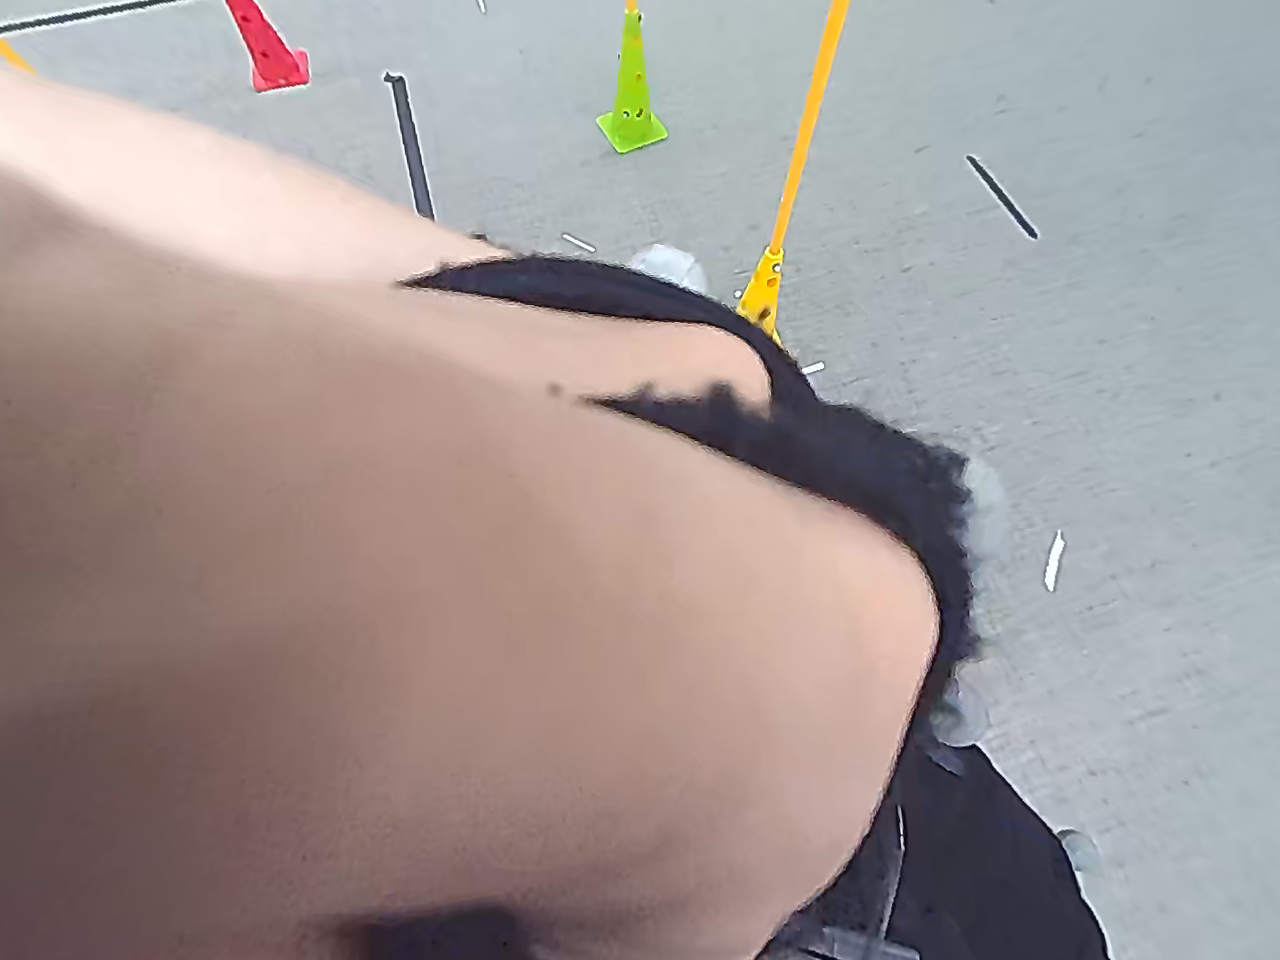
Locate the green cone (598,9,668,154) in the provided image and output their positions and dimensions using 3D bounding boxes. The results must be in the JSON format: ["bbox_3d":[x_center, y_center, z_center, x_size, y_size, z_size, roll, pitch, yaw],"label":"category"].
[{"bbox_3d":[-0.025,-1.300,1.743,0.200,0.368,0.202,-26,72,-10],"label":"green cone"}]
